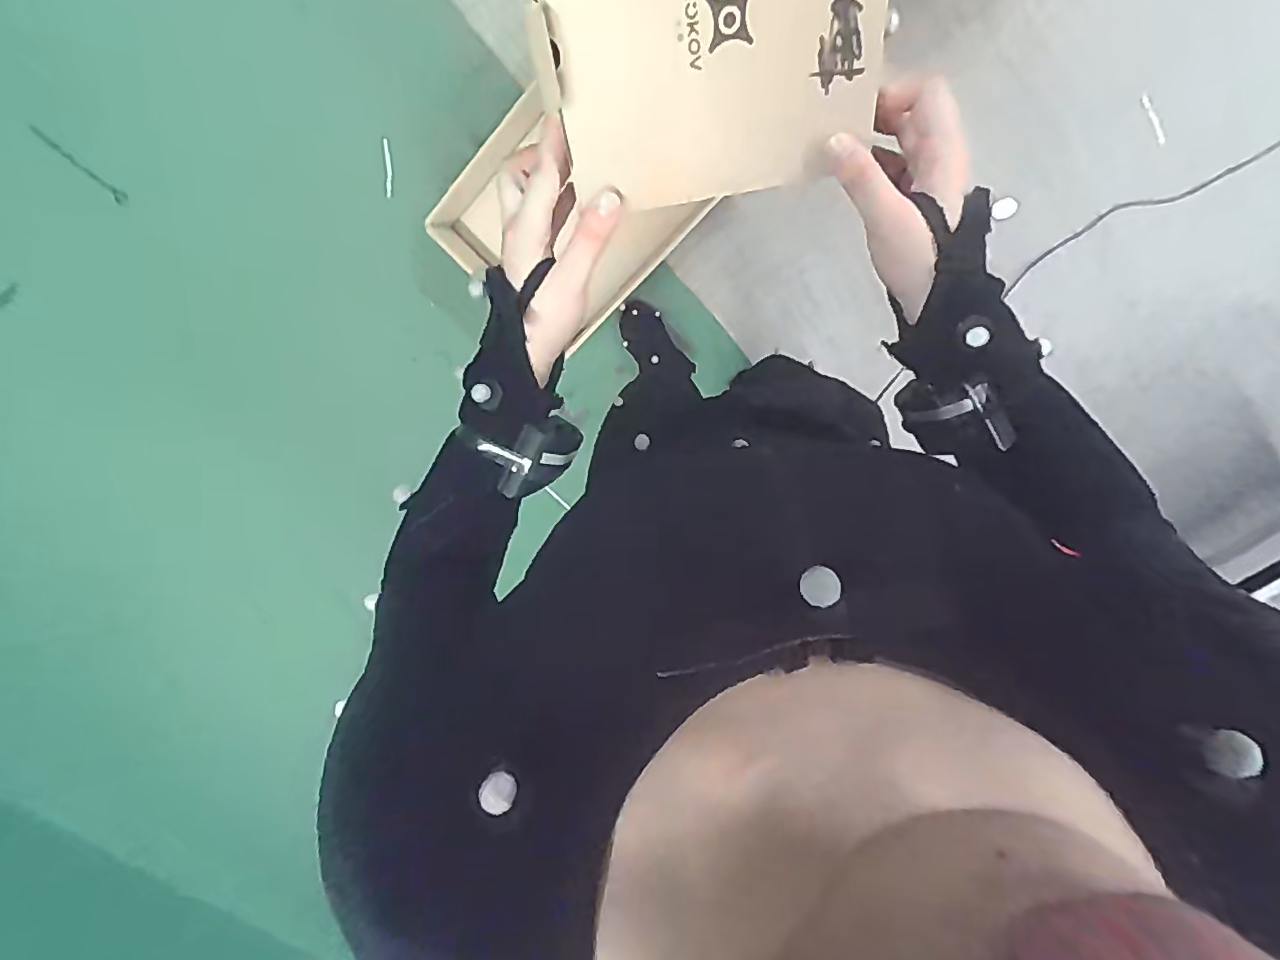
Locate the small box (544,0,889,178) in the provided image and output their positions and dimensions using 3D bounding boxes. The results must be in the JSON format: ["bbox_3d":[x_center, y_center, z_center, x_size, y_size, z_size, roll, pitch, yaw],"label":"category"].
[{"bbox_3d":[0.038,-0.304,0.325,0.179,0.176,0.168,-6,133,6],"label":"small box"}]
